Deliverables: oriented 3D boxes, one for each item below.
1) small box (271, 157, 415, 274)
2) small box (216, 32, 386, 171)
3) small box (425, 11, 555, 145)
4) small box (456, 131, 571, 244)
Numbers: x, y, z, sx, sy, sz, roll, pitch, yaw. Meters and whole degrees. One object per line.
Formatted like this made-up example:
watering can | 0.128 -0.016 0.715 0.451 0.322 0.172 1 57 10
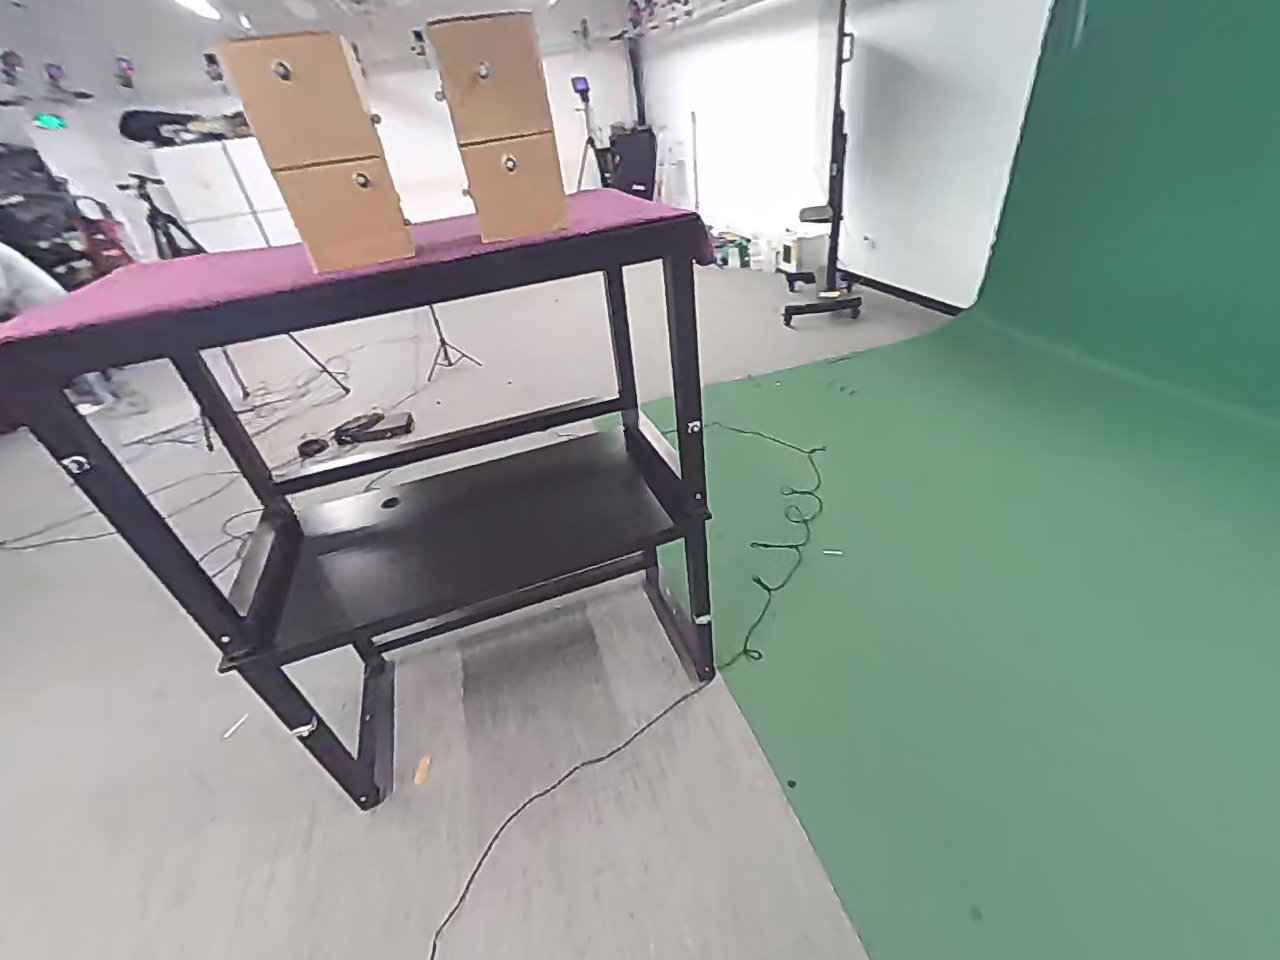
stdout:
small box | -0.538 -0.493 1.007 0.179 0.176 0.168 -16 35 -13
small box | -0.557 -0.630 0.917 0.179 0.176 0.168 -15 35 -12
small box | -0.265 -0.708 0.972 0.179 0.176 0.168 -16 36 -8
small box | -0.246 -0.574 1.063 0.179 0.176 0.168 -14 35 -8
